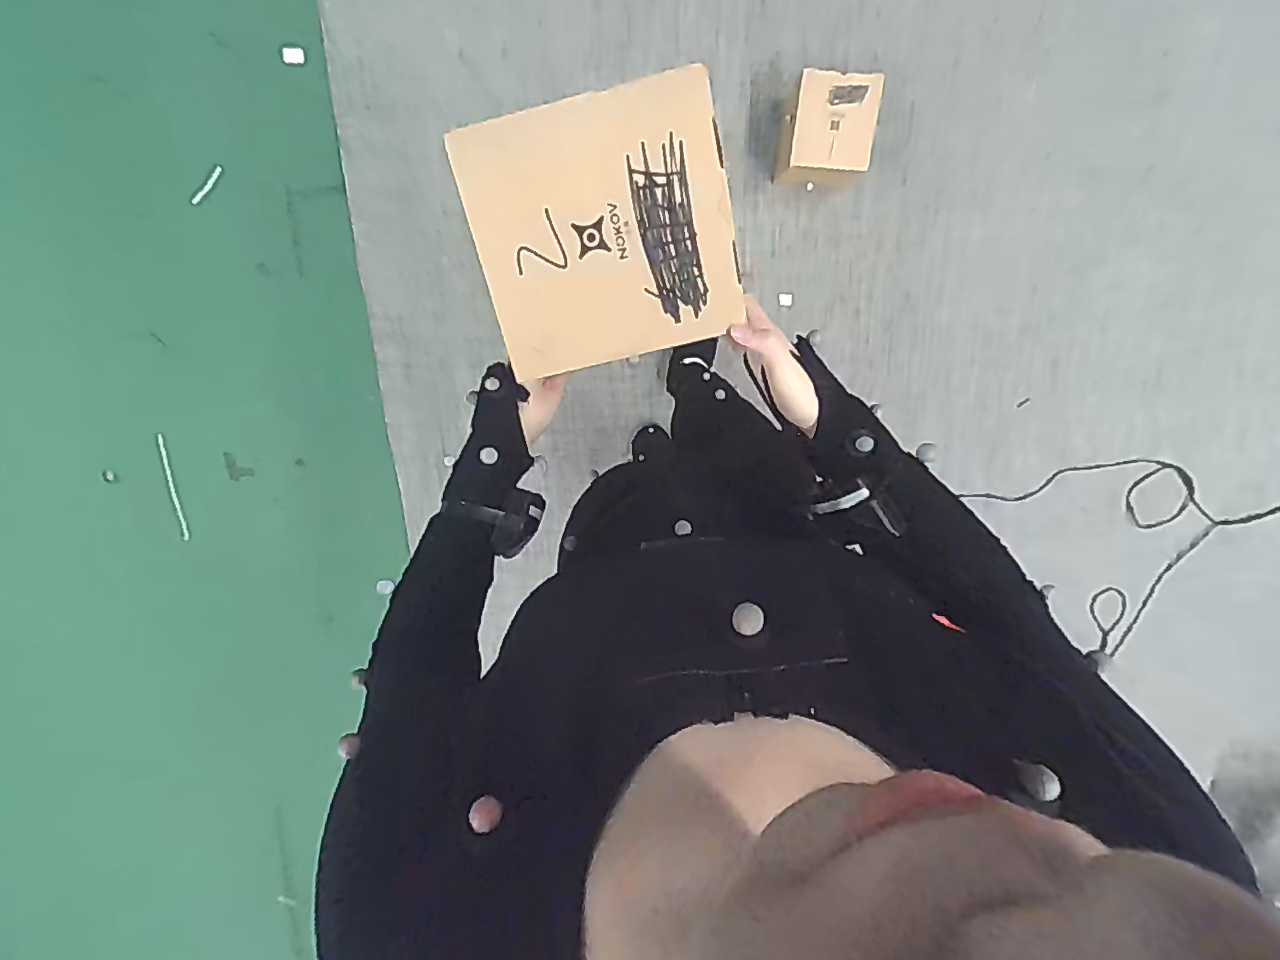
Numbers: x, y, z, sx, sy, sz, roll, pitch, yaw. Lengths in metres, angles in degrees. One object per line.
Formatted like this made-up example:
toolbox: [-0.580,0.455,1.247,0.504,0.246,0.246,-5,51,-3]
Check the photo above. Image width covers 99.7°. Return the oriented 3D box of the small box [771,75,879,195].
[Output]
small box: [0.390,-0.740,1.176,0.168,0.176,0.179,5,107,0]
